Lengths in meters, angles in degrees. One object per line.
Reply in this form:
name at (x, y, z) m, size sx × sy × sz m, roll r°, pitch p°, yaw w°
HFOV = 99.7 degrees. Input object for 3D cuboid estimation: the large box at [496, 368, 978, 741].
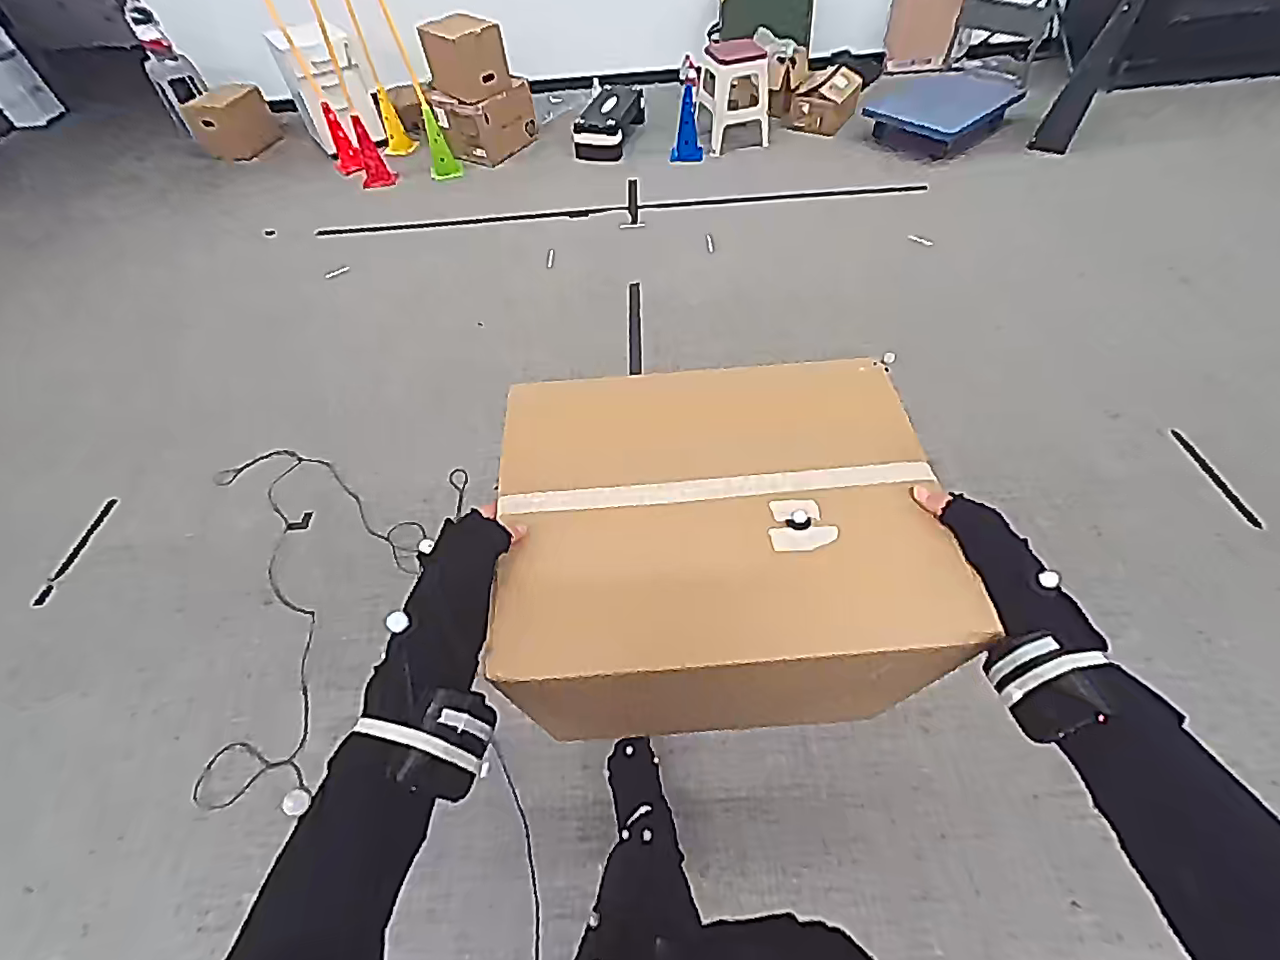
large box at (0.073, 0.100, 0.641) m, size 0.408 × 0.320 × 0.320 m, roll -5°, pitch 56°, yaw 0°
